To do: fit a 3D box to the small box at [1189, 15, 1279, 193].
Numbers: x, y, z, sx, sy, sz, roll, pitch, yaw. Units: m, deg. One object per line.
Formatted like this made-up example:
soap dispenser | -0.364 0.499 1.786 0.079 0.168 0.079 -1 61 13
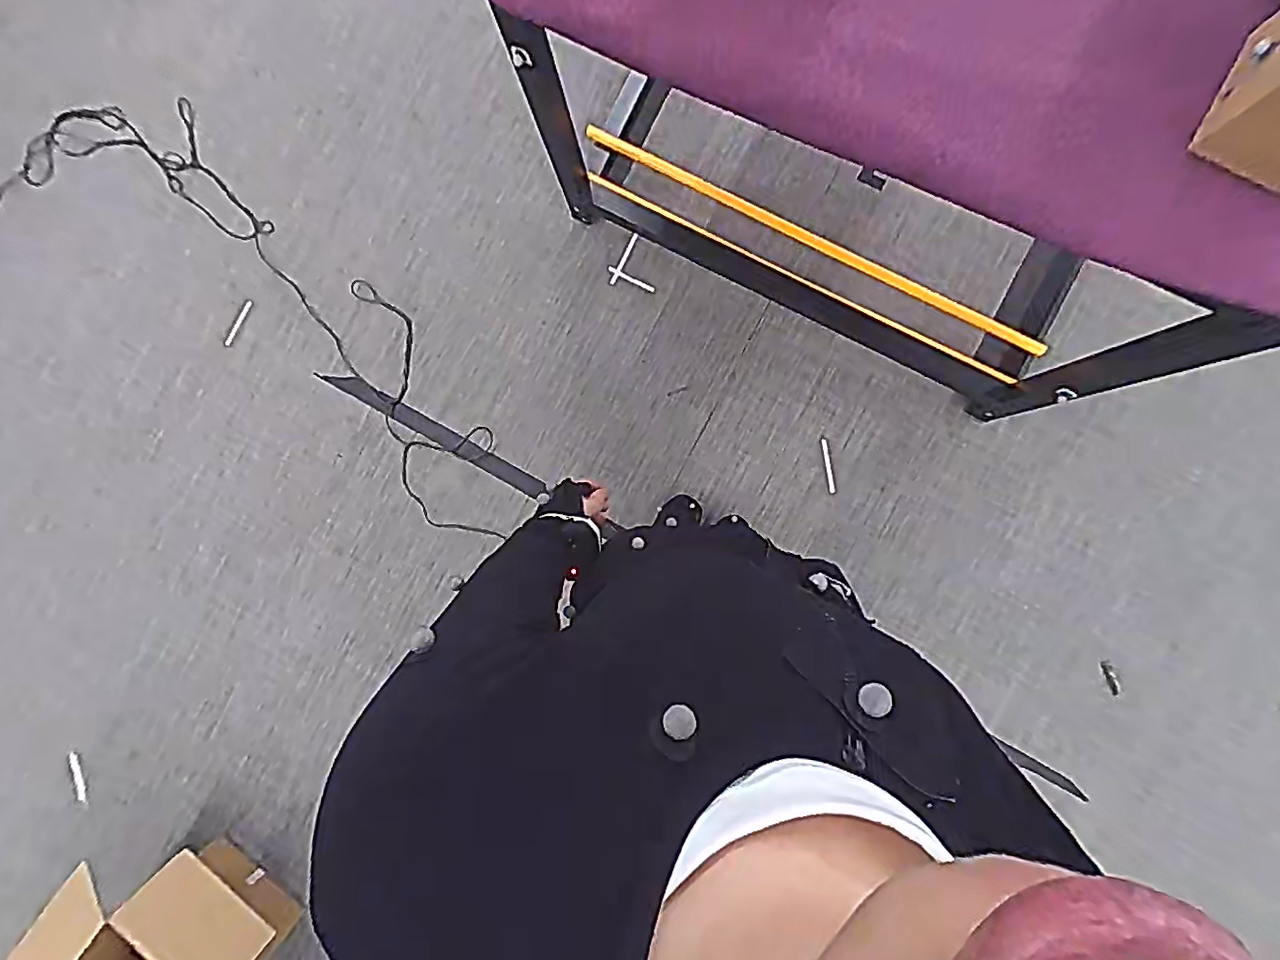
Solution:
small box | 0.744 -0.417 0.546 0.179 0.176 0.168 30 89 5
